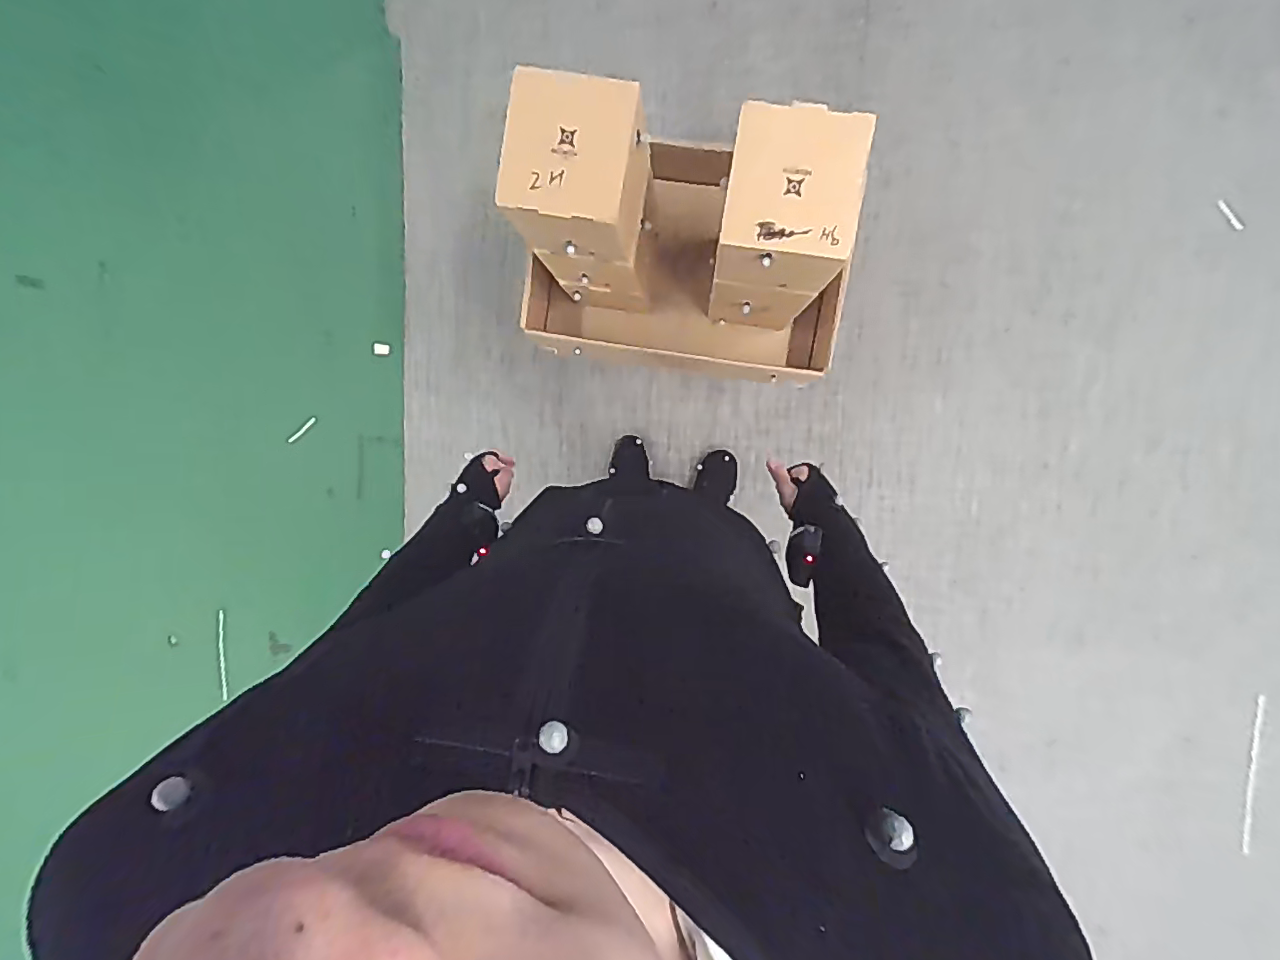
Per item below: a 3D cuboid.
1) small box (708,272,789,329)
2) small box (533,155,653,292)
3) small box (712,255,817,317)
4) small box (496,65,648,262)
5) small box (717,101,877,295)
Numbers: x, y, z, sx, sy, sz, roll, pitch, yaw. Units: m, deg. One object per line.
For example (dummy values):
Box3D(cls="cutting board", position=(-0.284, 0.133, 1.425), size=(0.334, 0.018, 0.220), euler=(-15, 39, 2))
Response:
Box3D(cls="small box", position=(0.231, -0.409, 1.074), size=(0.168, 0.176, 0.179), euler=(11, 95, 4))
Box3D(cls="small box", position=(-0.072, -0.446, 0.935), size=(0.168, 0.176, 0.179), euler=(11, 96, 4))
Box3D(cls="small box", position=(0.216, -0.390, 0.912), size=(0.168, 0.176, 0.179), euler=(10, 97, 5))
Box3D(cls="small box", position=(-0.085, -0.435, 0.770), size=(0.168, 0.176, 0.179), euler=(12, 96, 4))
Box3D(cls="small box", position=(0.203, -0.376, 0.750), size=(0.168, 0.176, 0.179), euler=(10, 96, 5))
